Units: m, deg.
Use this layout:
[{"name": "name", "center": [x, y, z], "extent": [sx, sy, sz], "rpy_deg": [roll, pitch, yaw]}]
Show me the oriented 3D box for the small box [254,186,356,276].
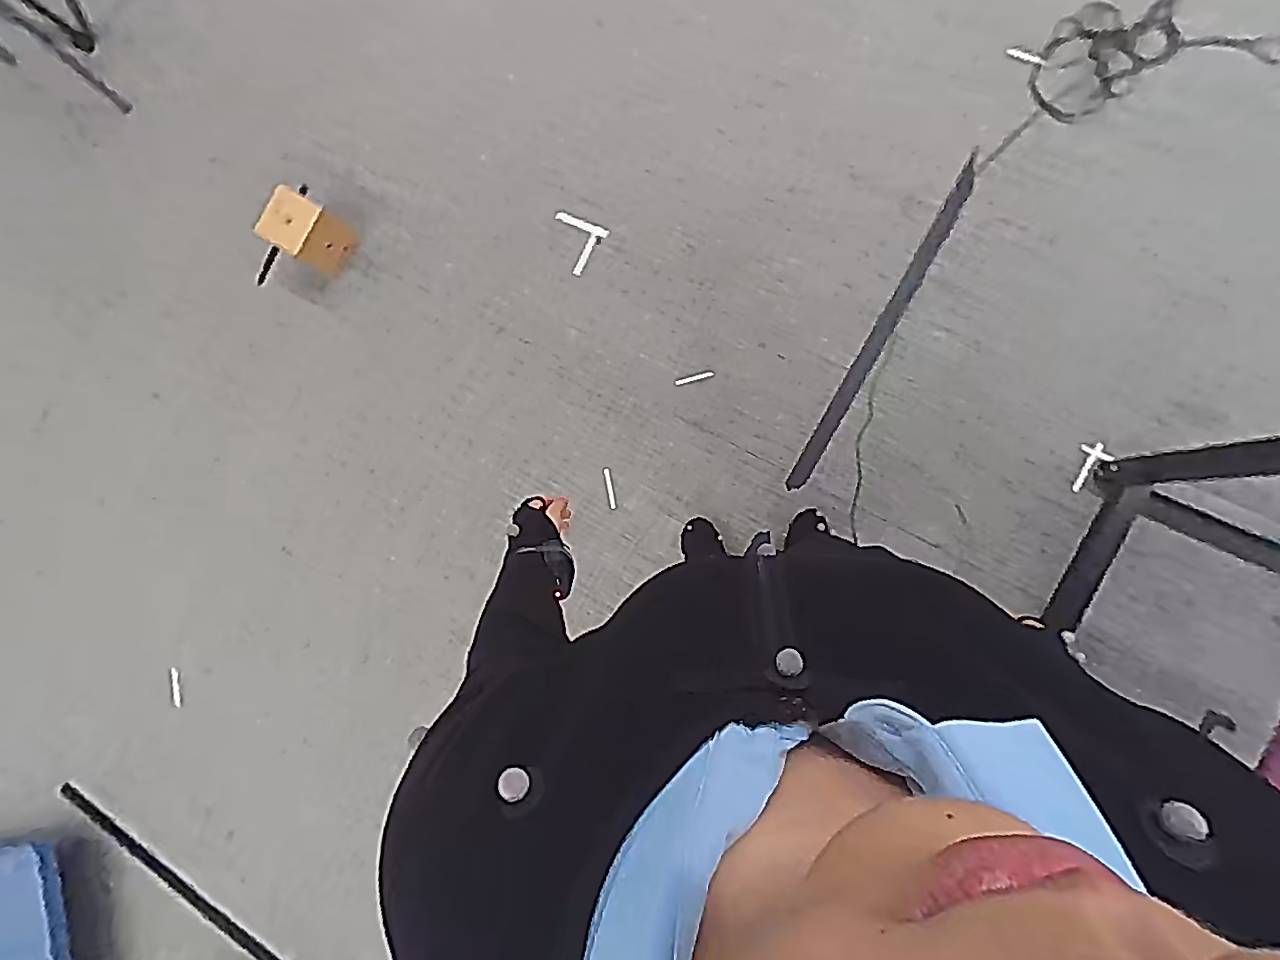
[{"name": "small box", "center": [-1.032, -0.763, 1.682], "extent": [0.179, 0.176, 0.168], "rpy_deg": [31, 92, 10]}]
